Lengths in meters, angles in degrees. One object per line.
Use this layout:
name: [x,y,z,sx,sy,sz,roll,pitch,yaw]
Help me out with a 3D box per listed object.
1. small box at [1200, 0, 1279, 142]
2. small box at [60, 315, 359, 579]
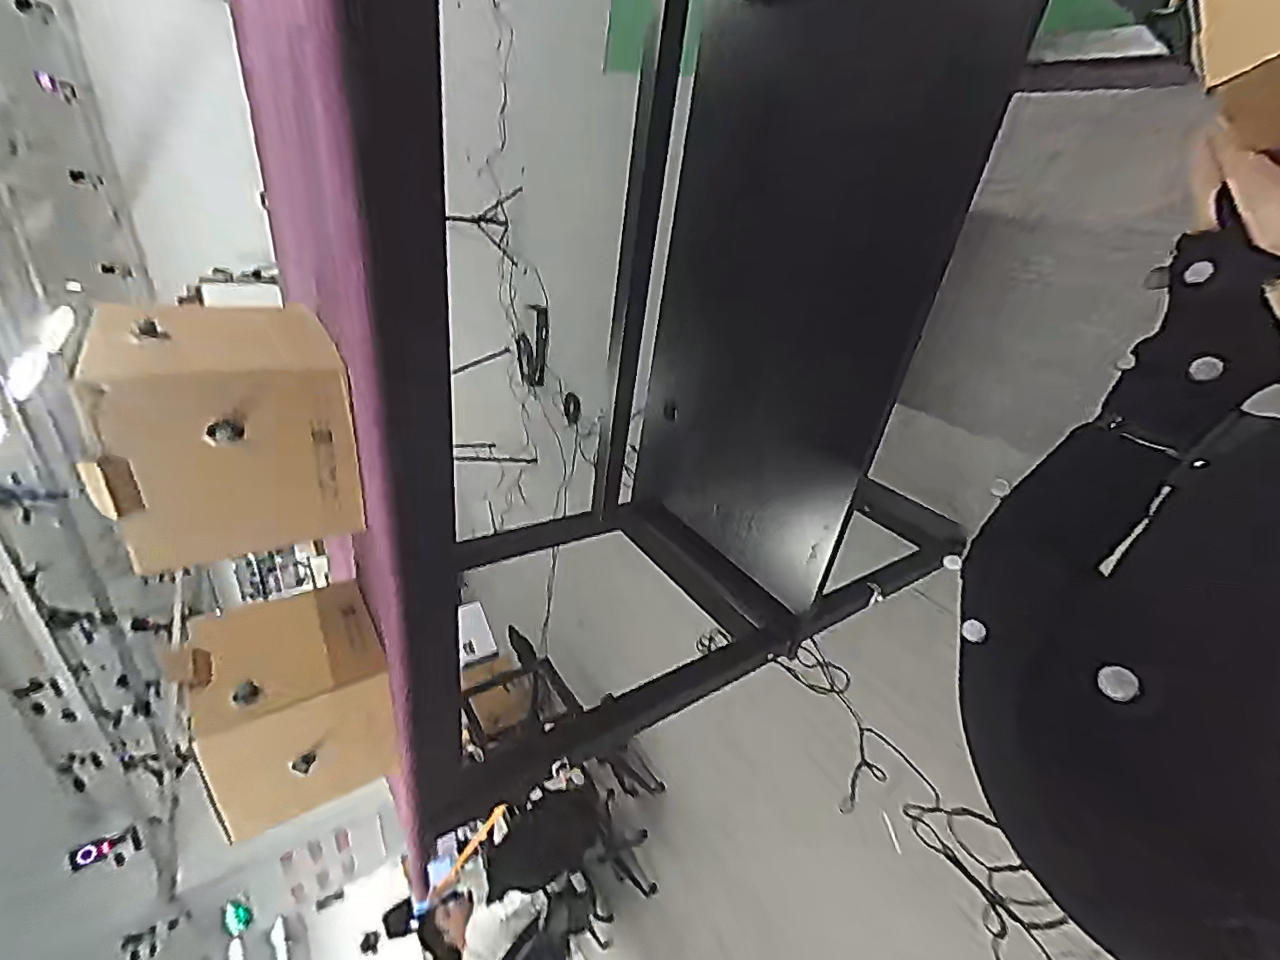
small box: [0.379,-0.268,0.225,0.179,0.176,0.168,-10,79,60]
small box: [-0.359,-0.044,0.484,0.179,0.176,0.168,41,131,43]
